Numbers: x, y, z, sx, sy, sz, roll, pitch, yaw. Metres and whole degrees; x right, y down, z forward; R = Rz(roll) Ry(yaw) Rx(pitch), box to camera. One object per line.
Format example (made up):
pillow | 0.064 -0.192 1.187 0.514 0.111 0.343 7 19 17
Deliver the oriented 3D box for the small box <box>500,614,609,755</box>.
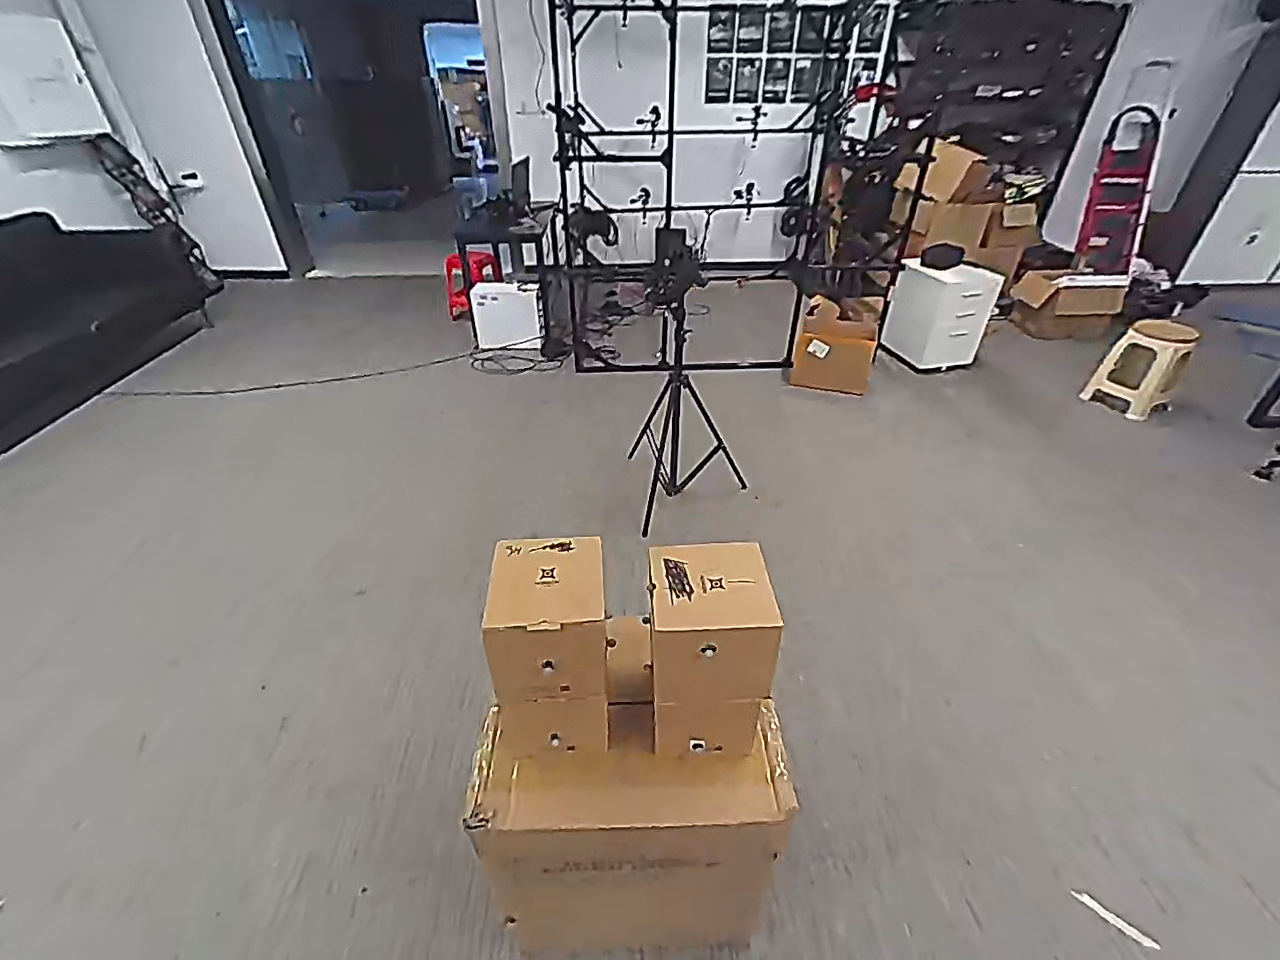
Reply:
small box | -0.138 0.347 0.935 0.168 0.176 0.179 -2 36 -3

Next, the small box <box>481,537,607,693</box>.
small box | -0.138 0.212 0.840 0.168 0.176 0.179 -3 37 -4

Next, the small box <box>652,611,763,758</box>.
small box | 0.106 0.350 0.932 0.168 0.176 0.179 -4 37 -1
